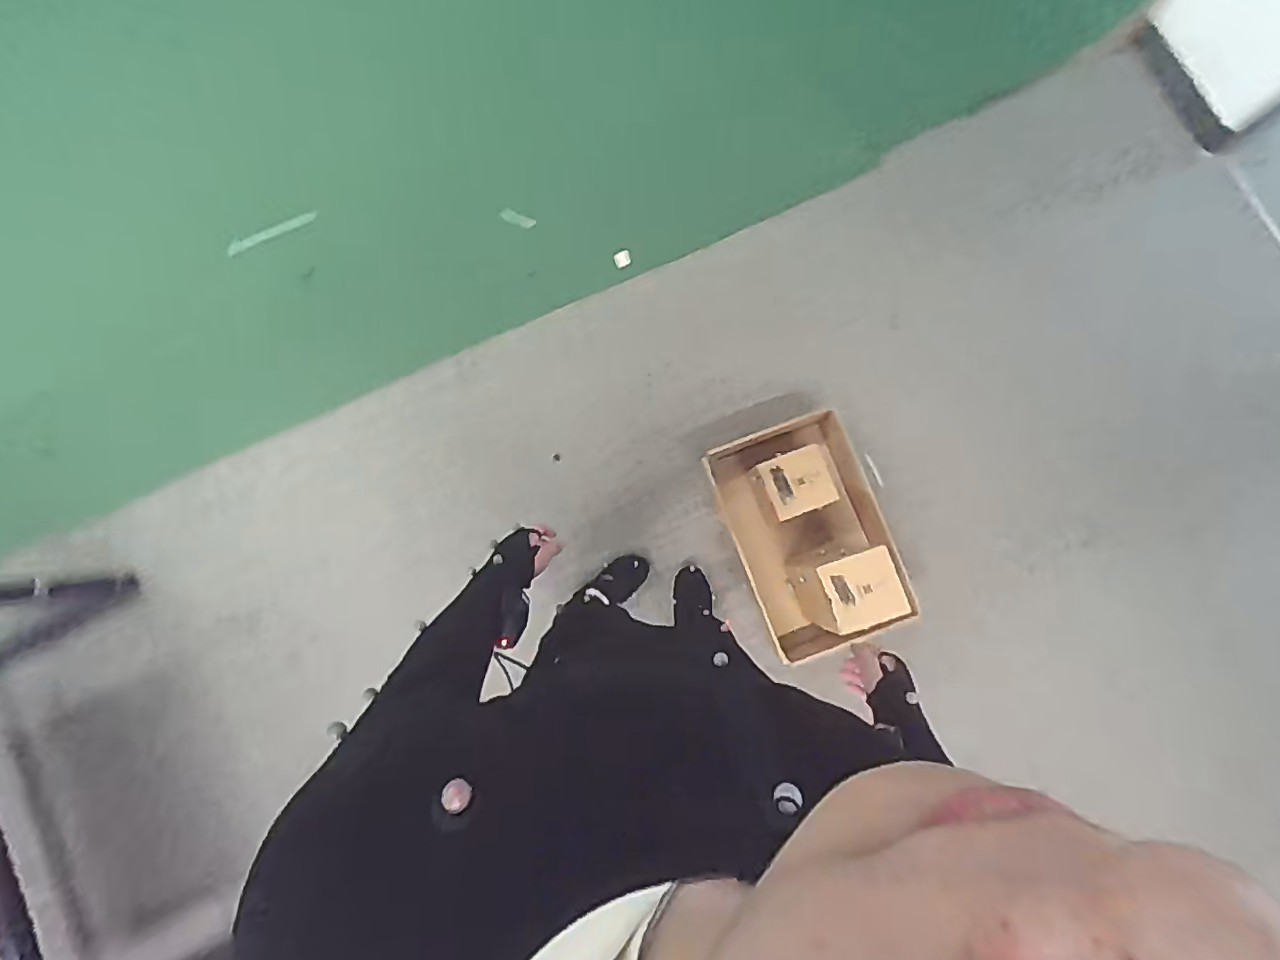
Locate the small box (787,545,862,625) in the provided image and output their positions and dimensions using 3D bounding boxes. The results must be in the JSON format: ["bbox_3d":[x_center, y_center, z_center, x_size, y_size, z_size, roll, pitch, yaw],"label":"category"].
[{"bbox_3d":[0.526,0.280,1.476,0.179,0.176,0.168,-20,82,-1],"label":"small box"}]

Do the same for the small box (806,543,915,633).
[{"bbox_3d":[0.521,0.260,1.313,0.179,0.176,0.168,-18,82,-2],"label":"small box"}]
